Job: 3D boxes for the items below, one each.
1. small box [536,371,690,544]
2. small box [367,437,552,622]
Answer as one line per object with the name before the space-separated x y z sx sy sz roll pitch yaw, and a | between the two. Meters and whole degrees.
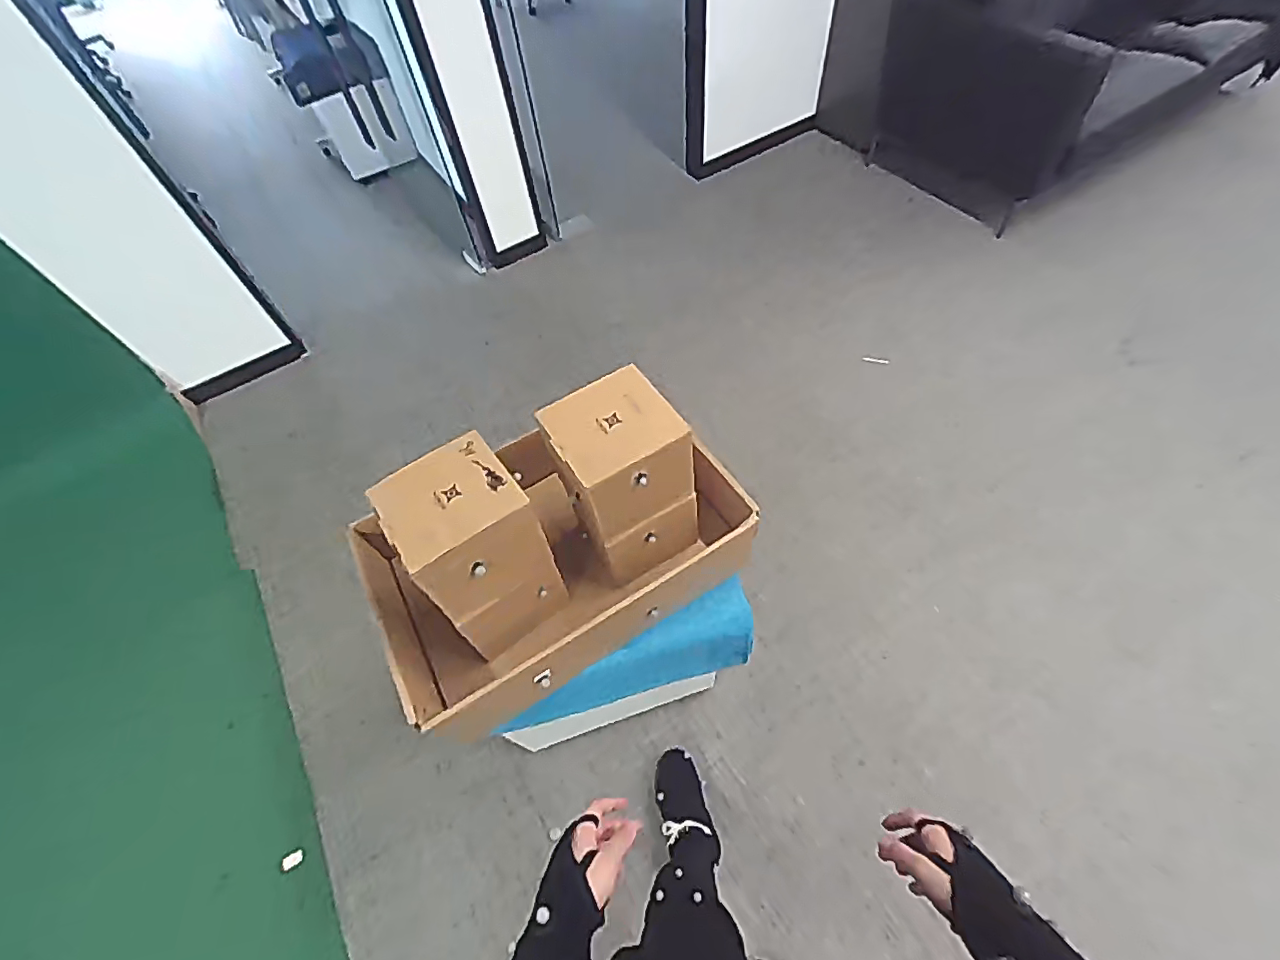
small box | -0.033 -0.030 0.841 0.179 0.176 0.168 -29 58 -12
small box | -0.254 0.077 0.792 0.179 0.176 0.168 -34 59 -17
